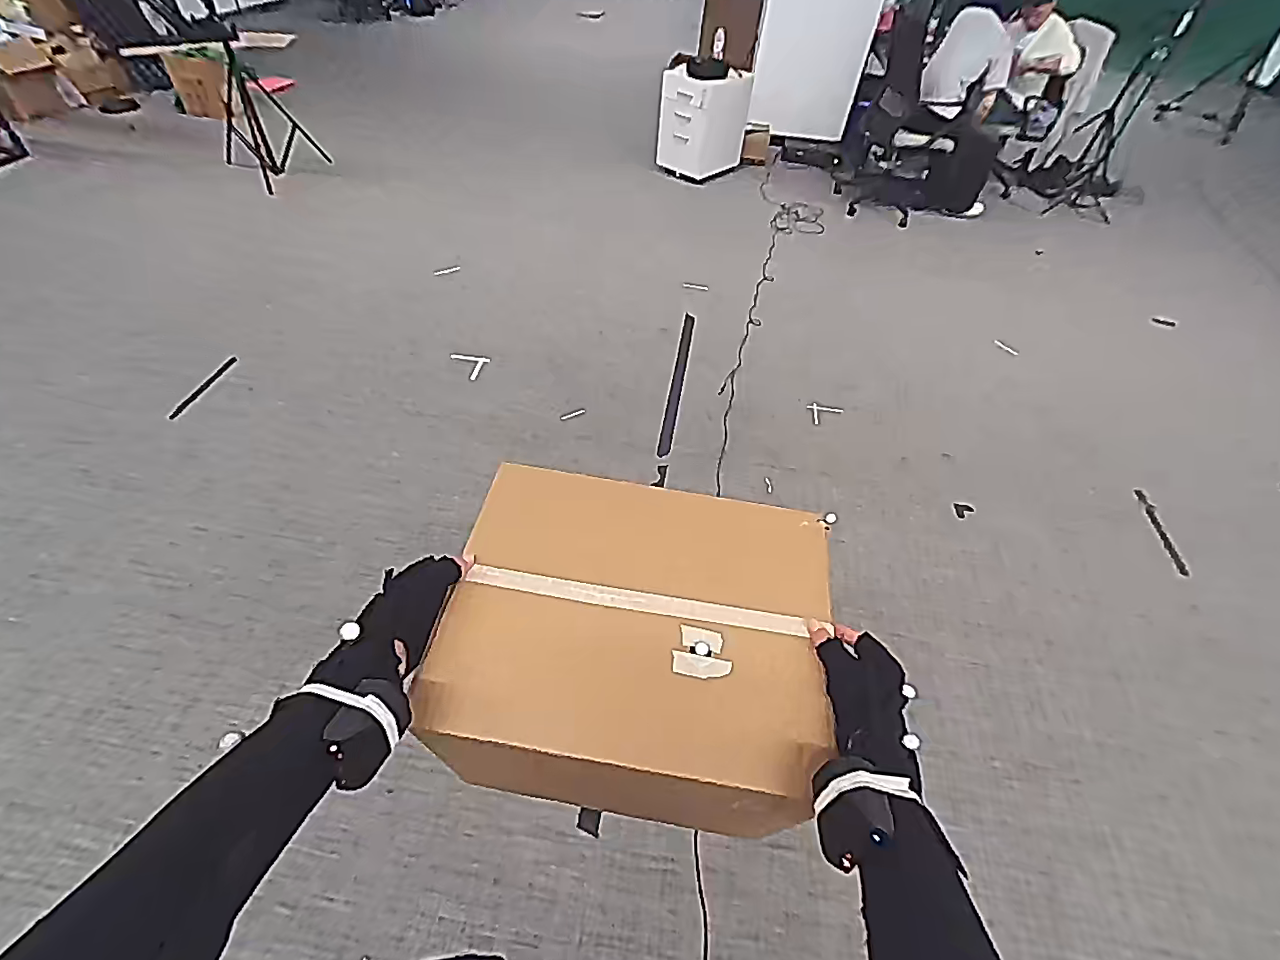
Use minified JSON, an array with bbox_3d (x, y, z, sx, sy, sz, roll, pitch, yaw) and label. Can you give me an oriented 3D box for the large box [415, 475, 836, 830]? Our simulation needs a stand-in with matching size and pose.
[{"bbox_3d":[-0.009,0.230,0.704,0.408,0.320,0.320,9,52,2],"label":"large box"}]
